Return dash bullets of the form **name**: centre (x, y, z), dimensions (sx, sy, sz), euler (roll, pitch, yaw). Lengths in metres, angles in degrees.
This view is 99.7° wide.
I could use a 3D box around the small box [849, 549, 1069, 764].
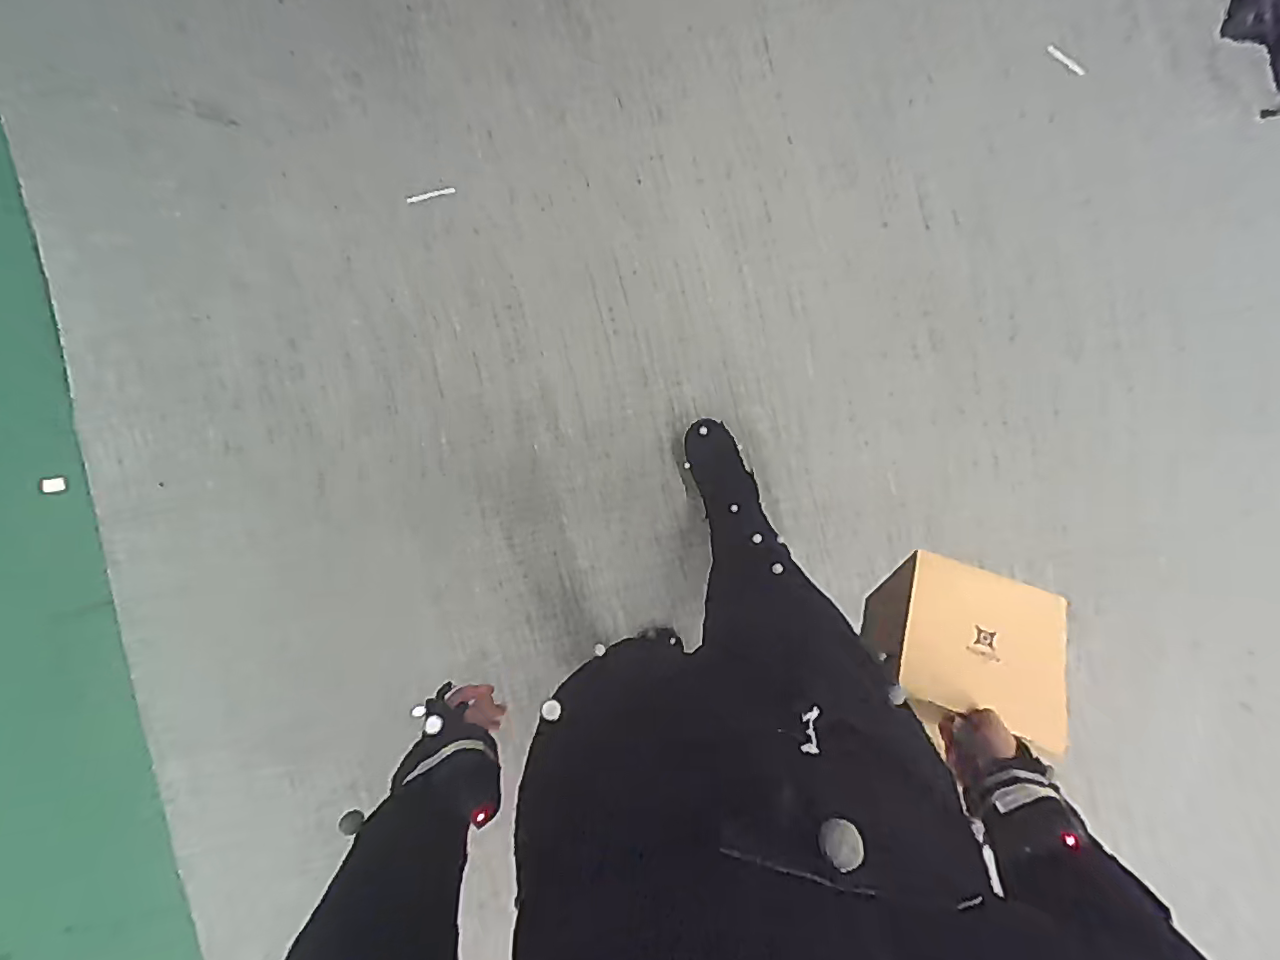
- **small box**: centre (0.369, 0.215, 0.647), dimensions (0.168, 0.176, 0.179), euler (19, 60, 10)
